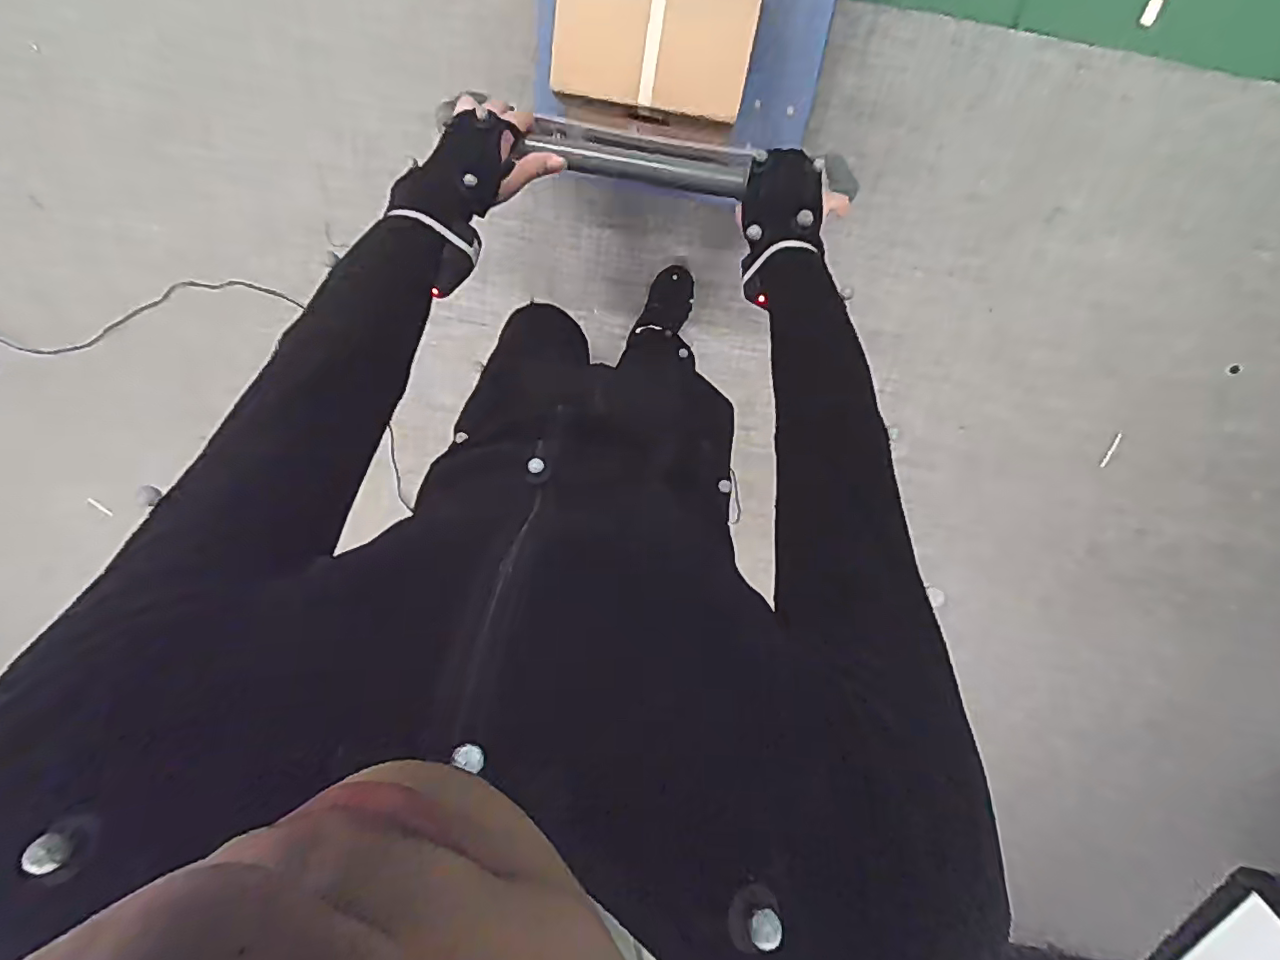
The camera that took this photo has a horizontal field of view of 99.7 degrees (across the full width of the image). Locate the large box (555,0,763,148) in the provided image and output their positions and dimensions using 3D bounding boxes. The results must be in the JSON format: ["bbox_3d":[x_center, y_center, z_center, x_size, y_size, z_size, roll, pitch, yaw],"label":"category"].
[{"bbox_3d":[0.049,-0.852,0.945,0.320,0.320,0.408,10,114,-1],"label":"large box"}]
